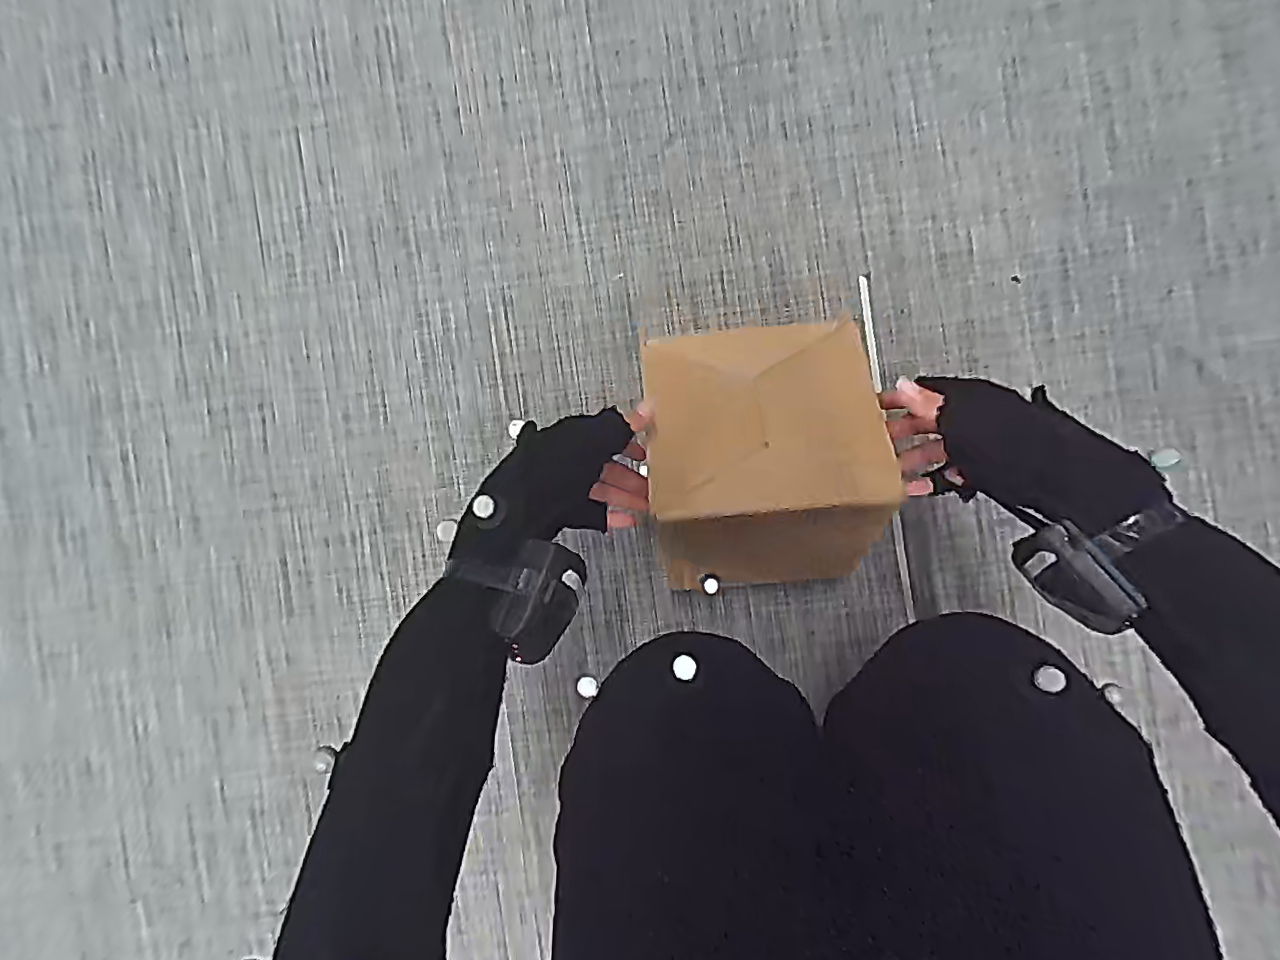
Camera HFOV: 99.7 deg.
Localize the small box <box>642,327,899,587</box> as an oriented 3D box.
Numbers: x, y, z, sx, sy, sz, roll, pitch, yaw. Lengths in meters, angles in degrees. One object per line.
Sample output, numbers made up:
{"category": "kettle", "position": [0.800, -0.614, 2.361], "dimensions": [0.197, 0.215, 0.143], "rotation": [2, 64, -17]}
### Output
{"category": "small box", "position": [0.100, -0.012, 0.474], "dimensions": [0.179, 0.176, 0.168], "rotation": [-4, 63, 4]}
